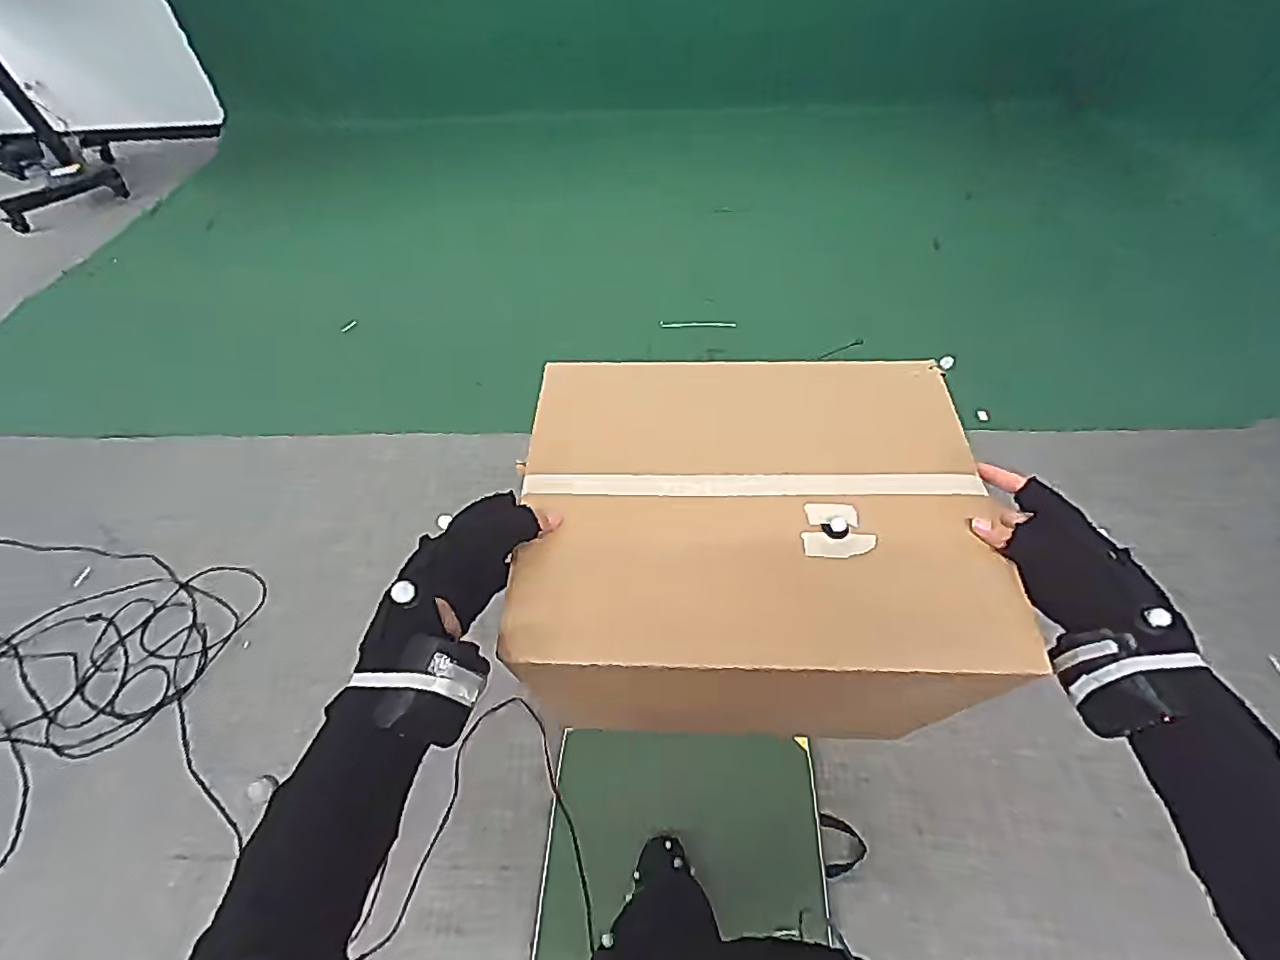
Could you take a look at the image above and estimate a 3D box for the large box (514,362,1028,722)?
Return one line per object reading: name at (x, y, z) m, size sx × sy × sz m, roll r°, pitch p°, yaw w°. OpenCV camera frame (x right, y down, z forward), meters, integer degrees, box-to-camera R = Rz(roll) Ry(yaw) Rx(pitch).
large box at (0.102, 0.085, 0.618) m, size 0.408 × 0.320 × 0.320 m, roll 1°, pitch 57°, yaw 2°
